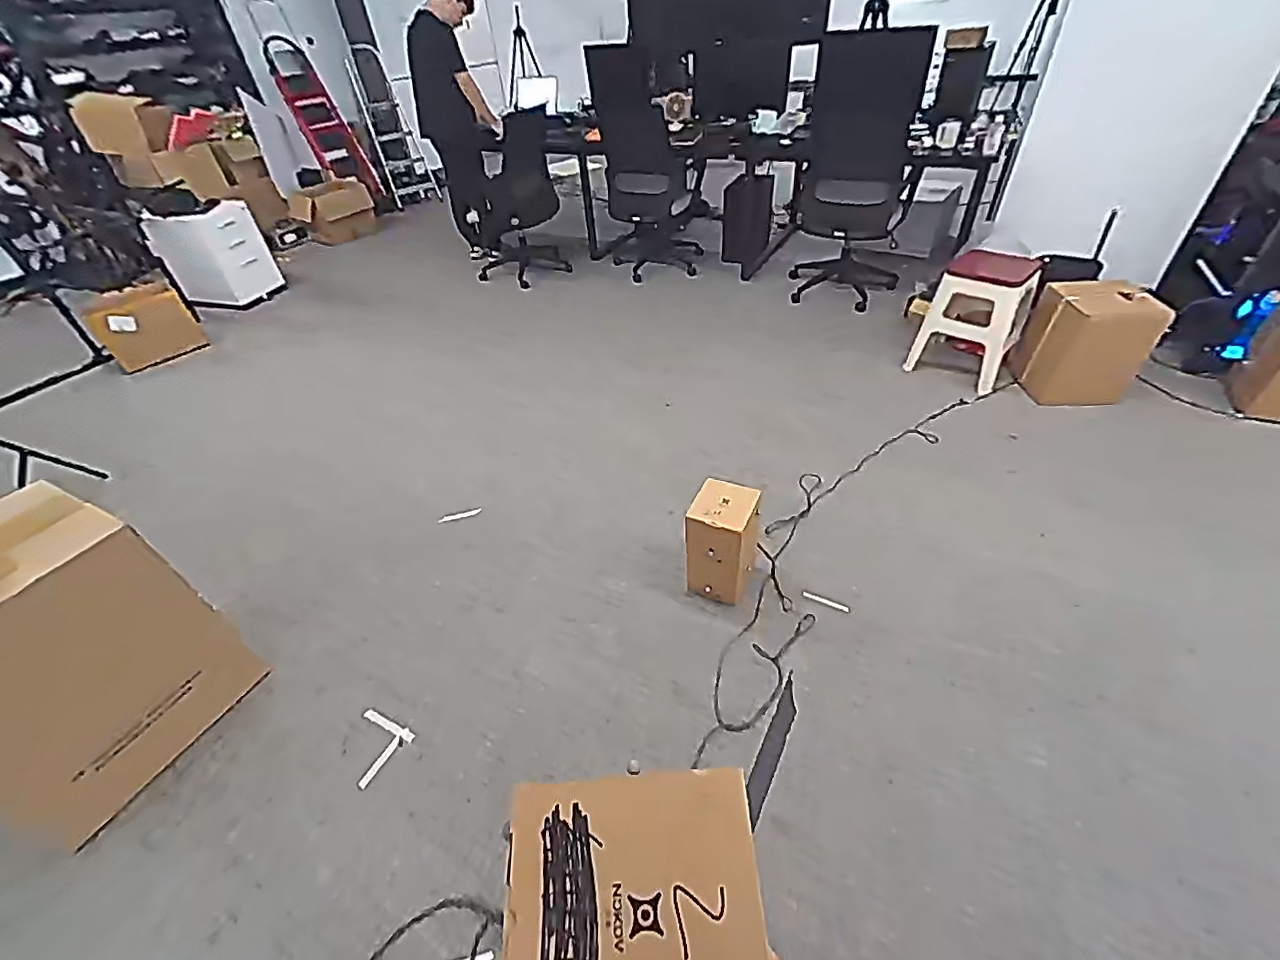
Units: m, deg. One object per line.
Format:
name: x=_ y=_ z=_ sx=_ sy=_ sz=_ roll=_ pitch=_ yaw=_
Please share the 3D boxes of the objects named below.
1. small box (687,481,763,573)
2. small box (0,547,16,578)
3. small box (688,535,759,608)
small box: x=0.244 y=0.135 z=1.562 sx=0.168 sy=0.176 sz=0.179 roll=15 pitch=45 yaw=23
small box: x=-1.383 y=0.144 z=1.036 sx=0.179 sy=0.176 sz=0.168 roll=17 pitch=46 yaw=25
small box: x=0.256 y=0.259 z=1.671 sx=0.168 sy=0.176 sz=0.179 roll=17 pitch=46 yaw=24
